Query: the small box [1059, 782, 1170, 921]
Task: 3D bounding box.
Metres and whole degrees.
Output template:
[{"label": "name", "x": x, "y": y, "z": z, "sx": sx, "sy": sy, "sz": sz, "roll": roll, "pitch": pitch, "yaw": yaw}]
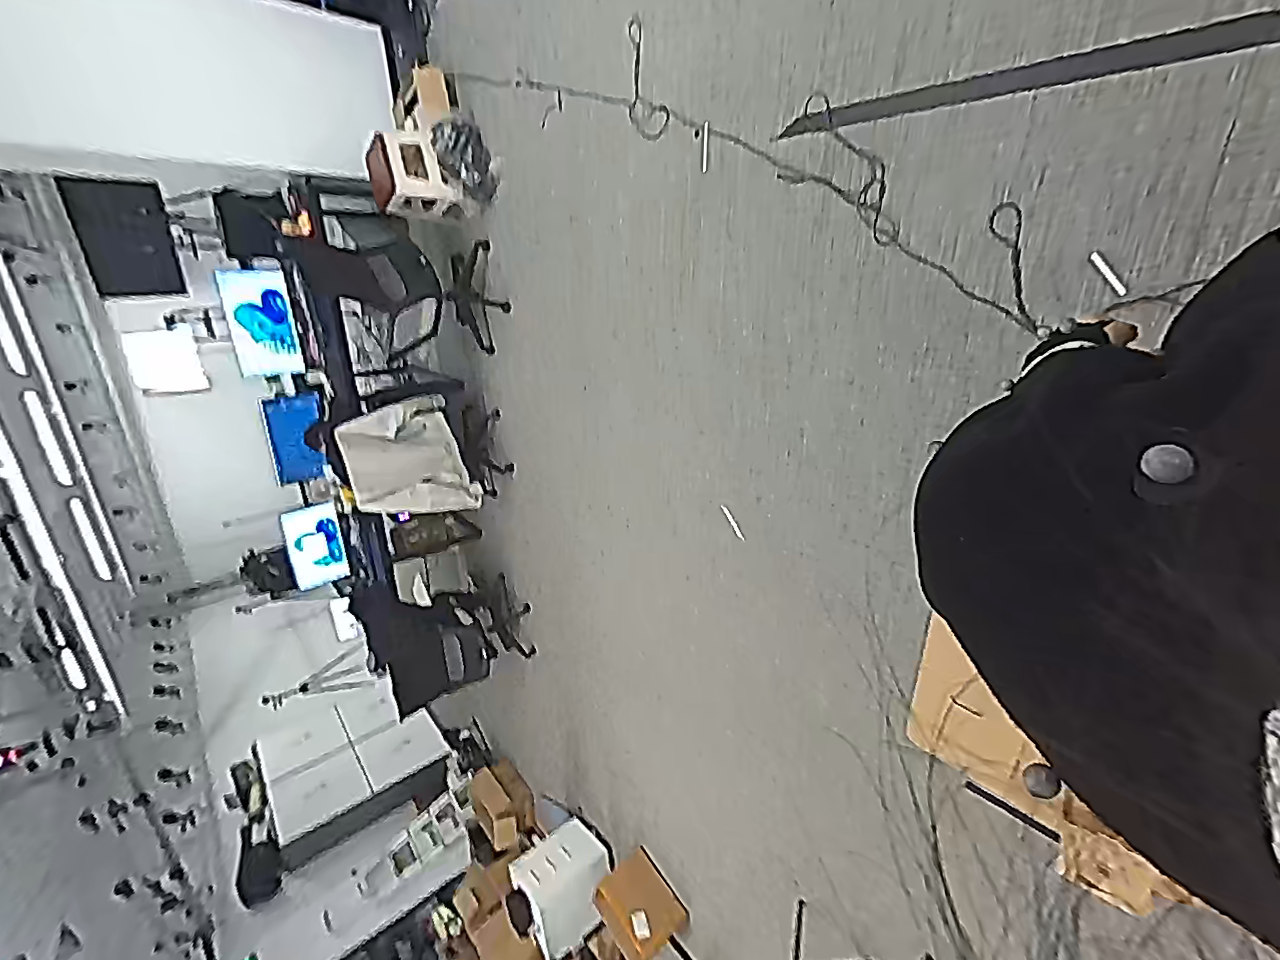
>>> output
[{"label": "small box", "x": 1.133, "y": 0.872, "z": 1.290, "sx": 0.168, "sy": 0.176, "sz": 0.179, "roll": 13, "pitch": 114, "yaw": 48}]
